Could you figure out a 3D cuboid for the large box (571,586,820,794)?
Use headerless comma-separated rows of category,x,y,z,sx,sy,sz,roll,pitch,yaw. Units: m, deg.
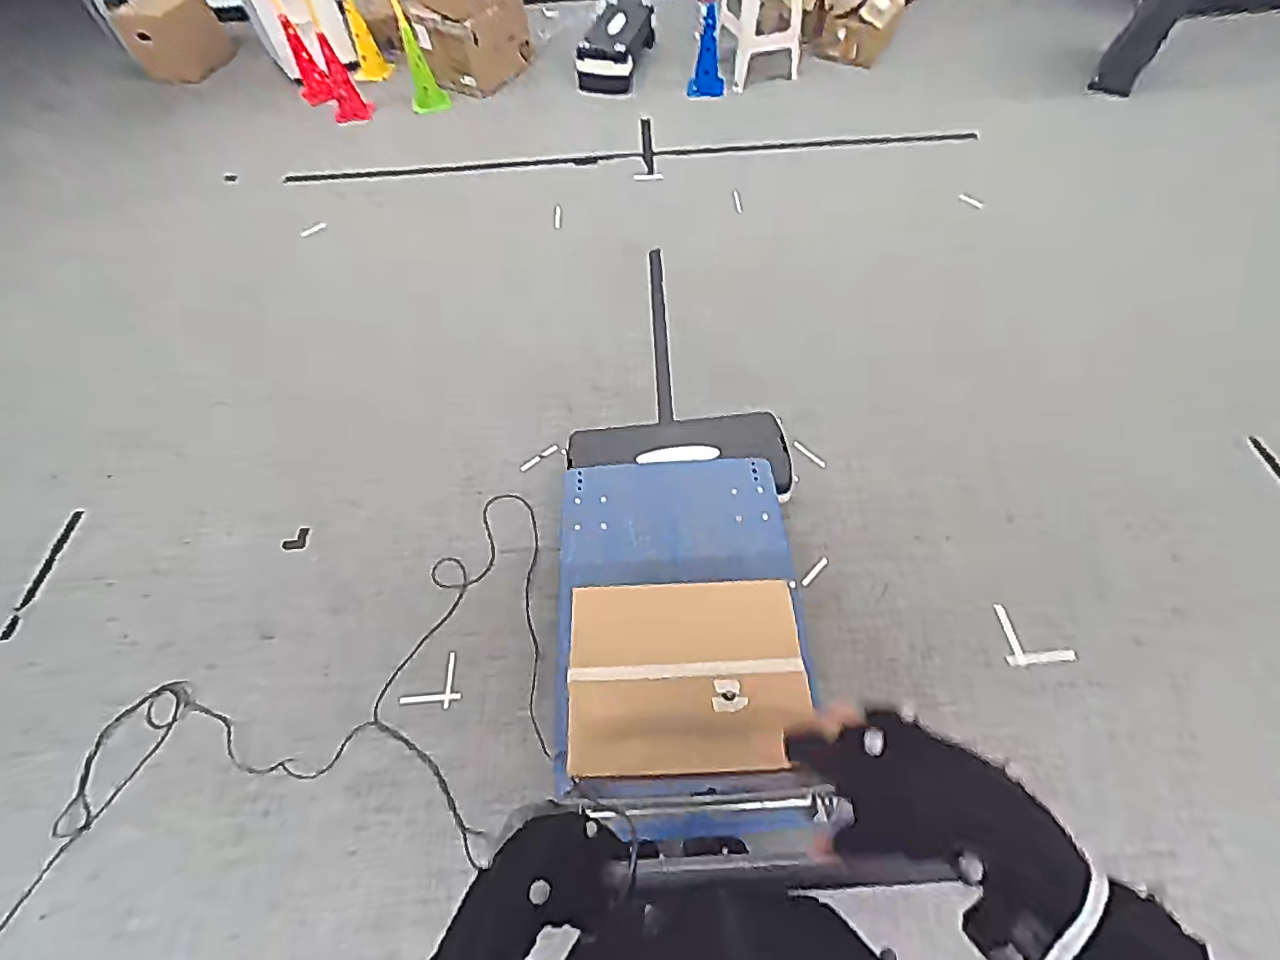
large box,0.082,0.417,1.050,0.408,0.320,0.320,-2,59,0
